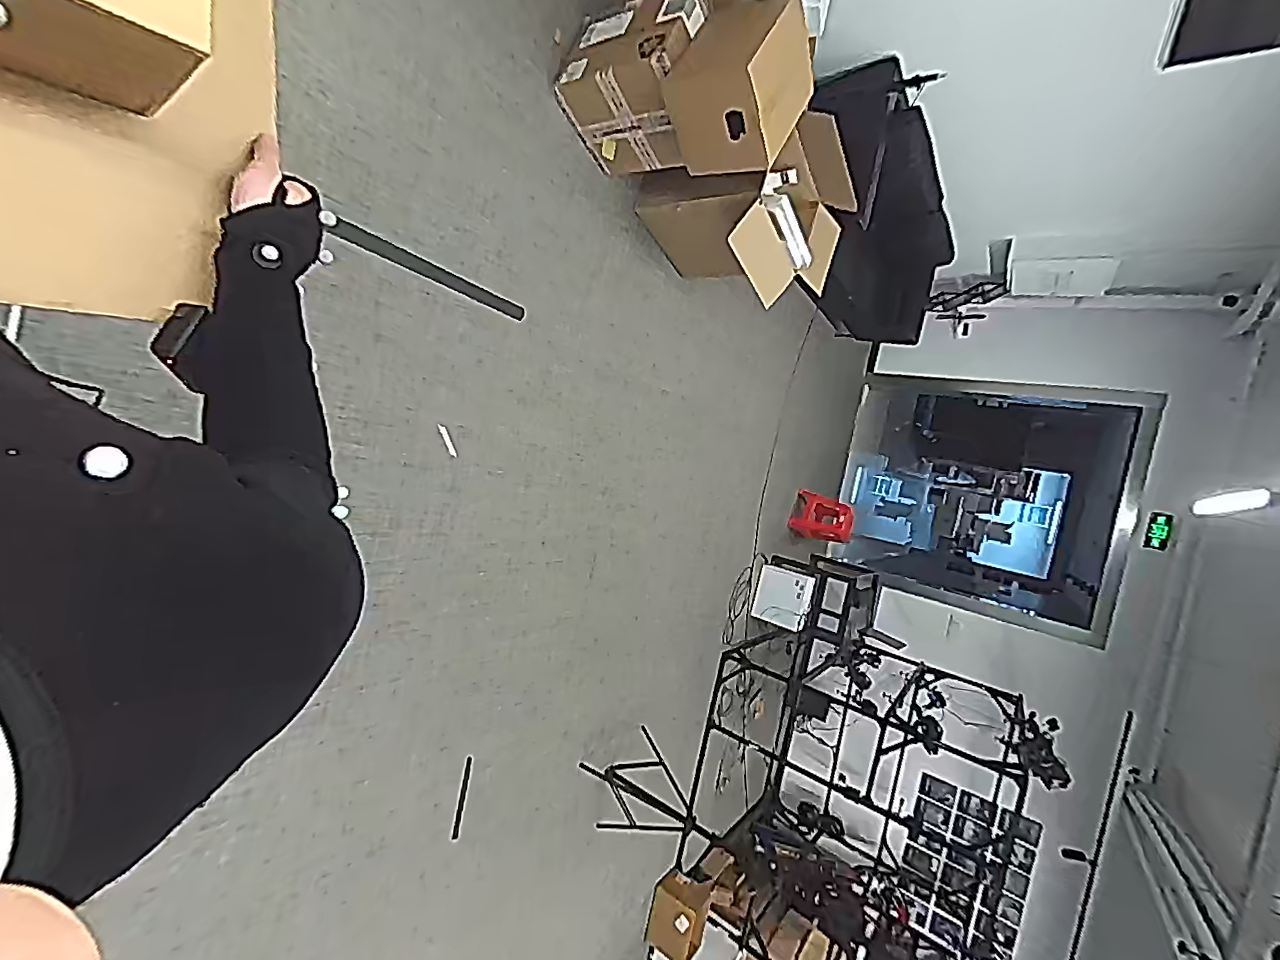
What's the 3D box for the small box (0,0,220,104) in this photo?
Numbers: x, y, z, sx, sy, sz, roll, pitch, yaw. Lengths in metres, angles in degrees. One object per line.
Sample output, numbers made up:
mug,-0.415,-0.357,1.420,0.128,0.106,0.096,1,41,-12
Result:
small box,-0.396,-0.370,0.338,0.179,0.176,0.168,-6,105,-50
